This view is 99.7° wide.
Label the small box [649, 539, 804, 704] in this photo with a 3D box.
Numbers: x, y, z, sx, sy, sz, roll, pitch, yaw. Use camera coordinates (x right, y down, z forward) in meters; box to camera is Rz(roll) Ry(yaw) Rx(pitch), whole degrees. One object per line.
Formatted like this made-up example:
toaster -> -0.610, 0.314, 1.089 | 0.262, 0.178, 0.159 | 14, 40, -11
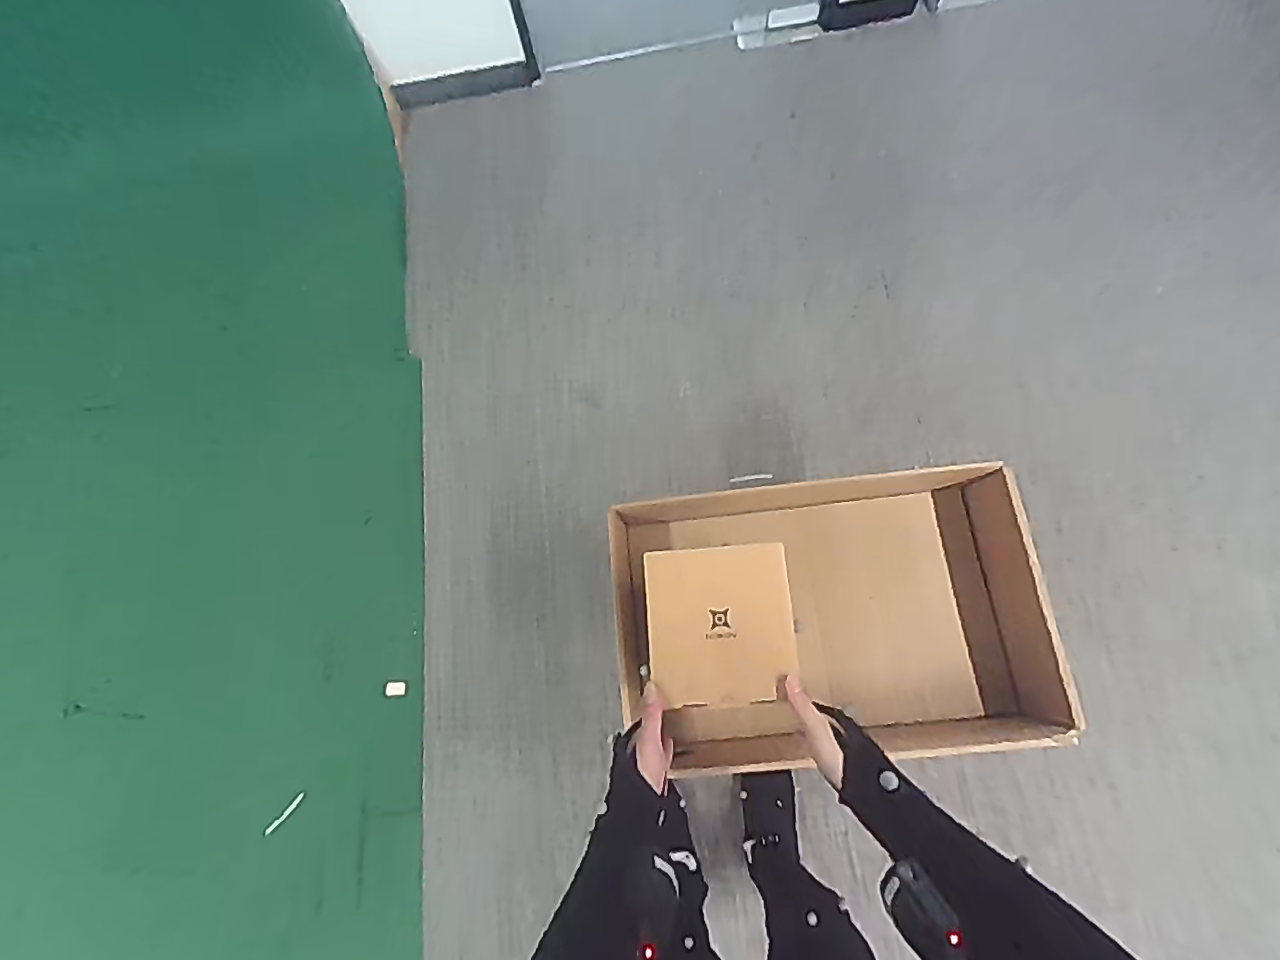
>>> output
small box -> 0.099, 0.180, 0.689 | 0.168, 0.176, 0.179 | -5, 74, 4
